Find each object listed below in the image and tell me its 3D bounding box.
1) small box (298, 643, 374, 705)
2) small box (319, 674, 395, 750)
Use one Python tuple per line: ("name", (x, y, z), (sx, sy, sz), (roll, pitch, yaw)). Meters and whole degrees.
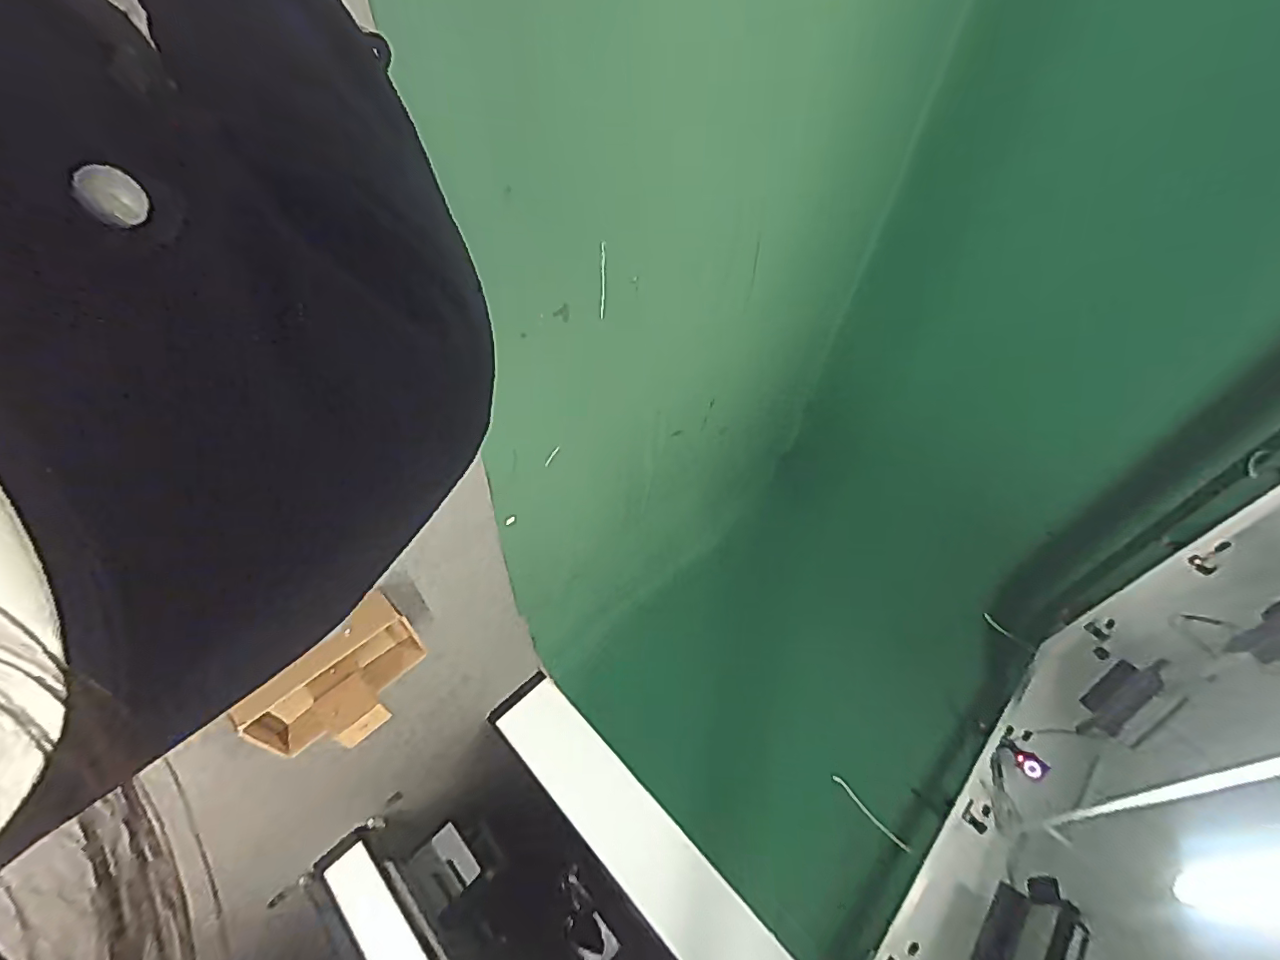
("small box", (-1.188, 0.771, 2.112), (0.179, 0.176, 0.168), (-38, 153, -26))
("small box", (-1.062, 0.865, 2.020), (0.179, 0.176, 0.168), (-39, 153, -25))
